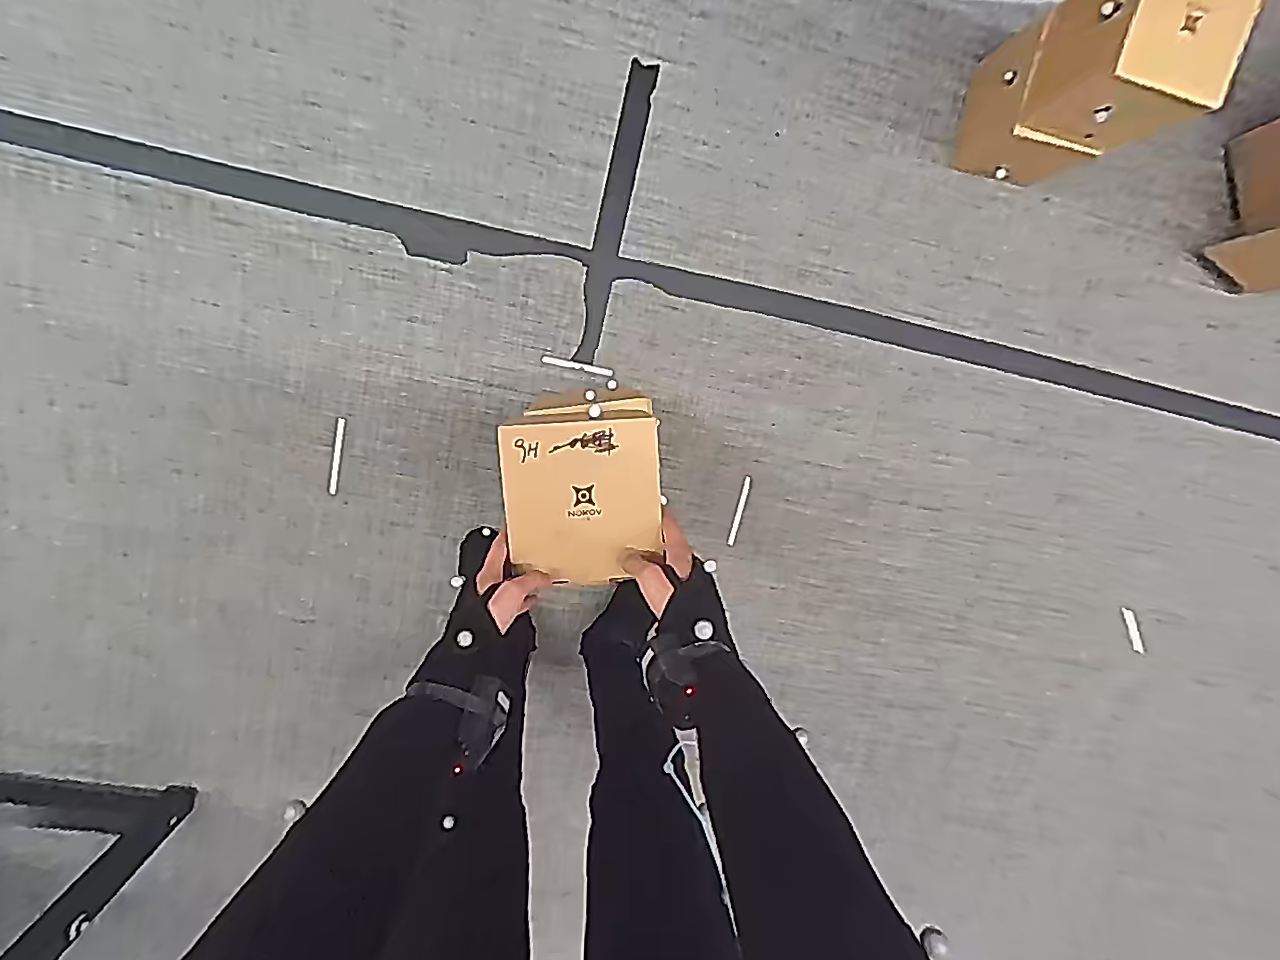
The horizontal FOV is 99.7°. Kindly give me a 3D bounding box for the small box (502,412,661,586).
[{"bbox_3d":[-0.062,0.013,0.653,0.168,0.176,0.179,-3,101,-3],"label":"small box"}]
